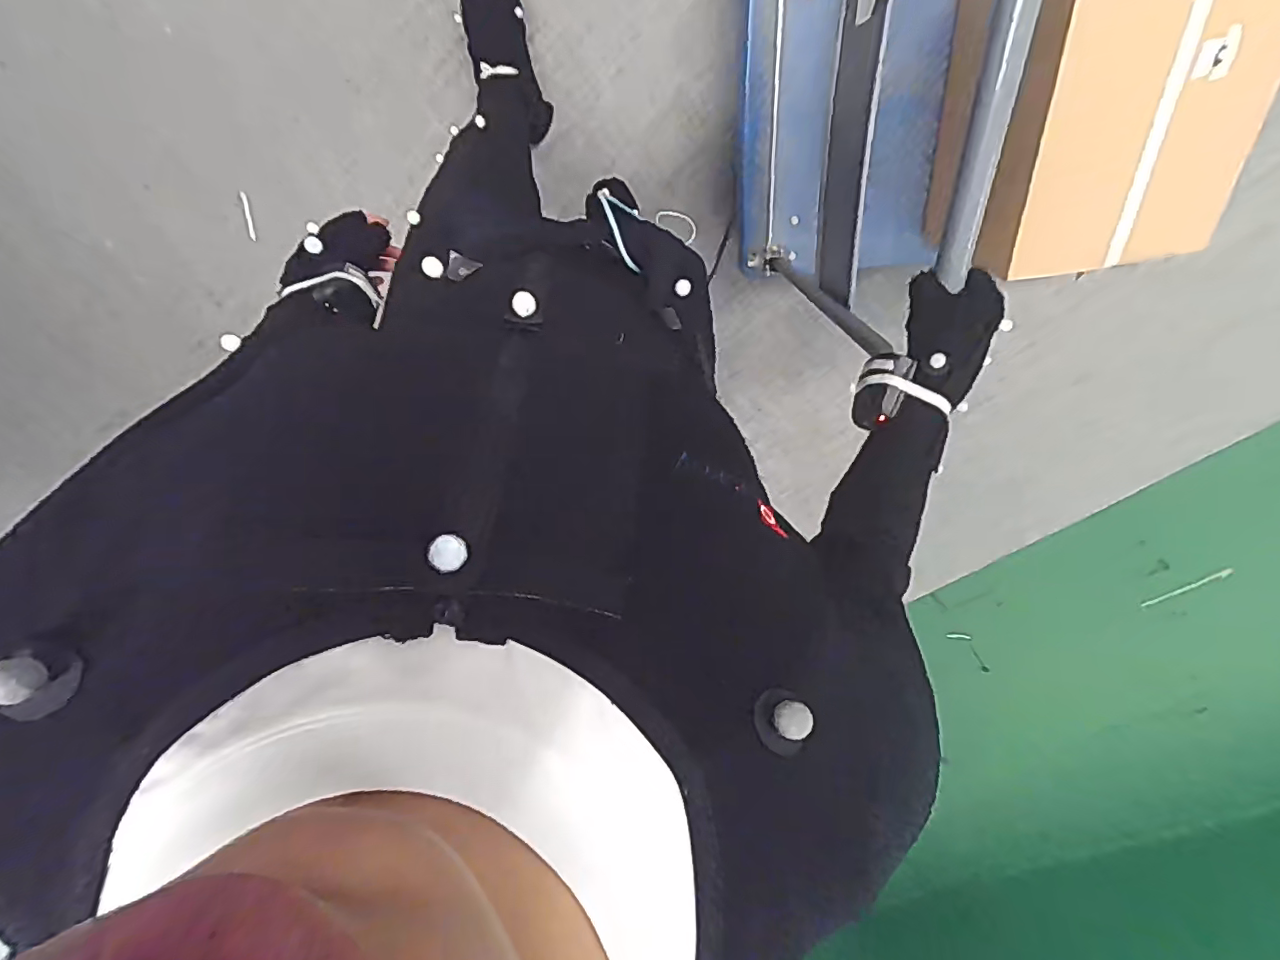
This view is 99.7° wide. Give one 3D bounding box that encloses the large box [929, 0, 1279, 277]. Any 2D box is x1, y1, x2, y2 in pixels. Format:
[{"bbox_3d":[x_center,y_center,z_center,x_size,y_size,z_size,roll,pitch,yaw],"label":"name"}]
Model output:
[{"bbox_3d":[0.713,-0.592,0.874,0.320,0.320,0.408,-8,125,3],"label":"large box"}]
